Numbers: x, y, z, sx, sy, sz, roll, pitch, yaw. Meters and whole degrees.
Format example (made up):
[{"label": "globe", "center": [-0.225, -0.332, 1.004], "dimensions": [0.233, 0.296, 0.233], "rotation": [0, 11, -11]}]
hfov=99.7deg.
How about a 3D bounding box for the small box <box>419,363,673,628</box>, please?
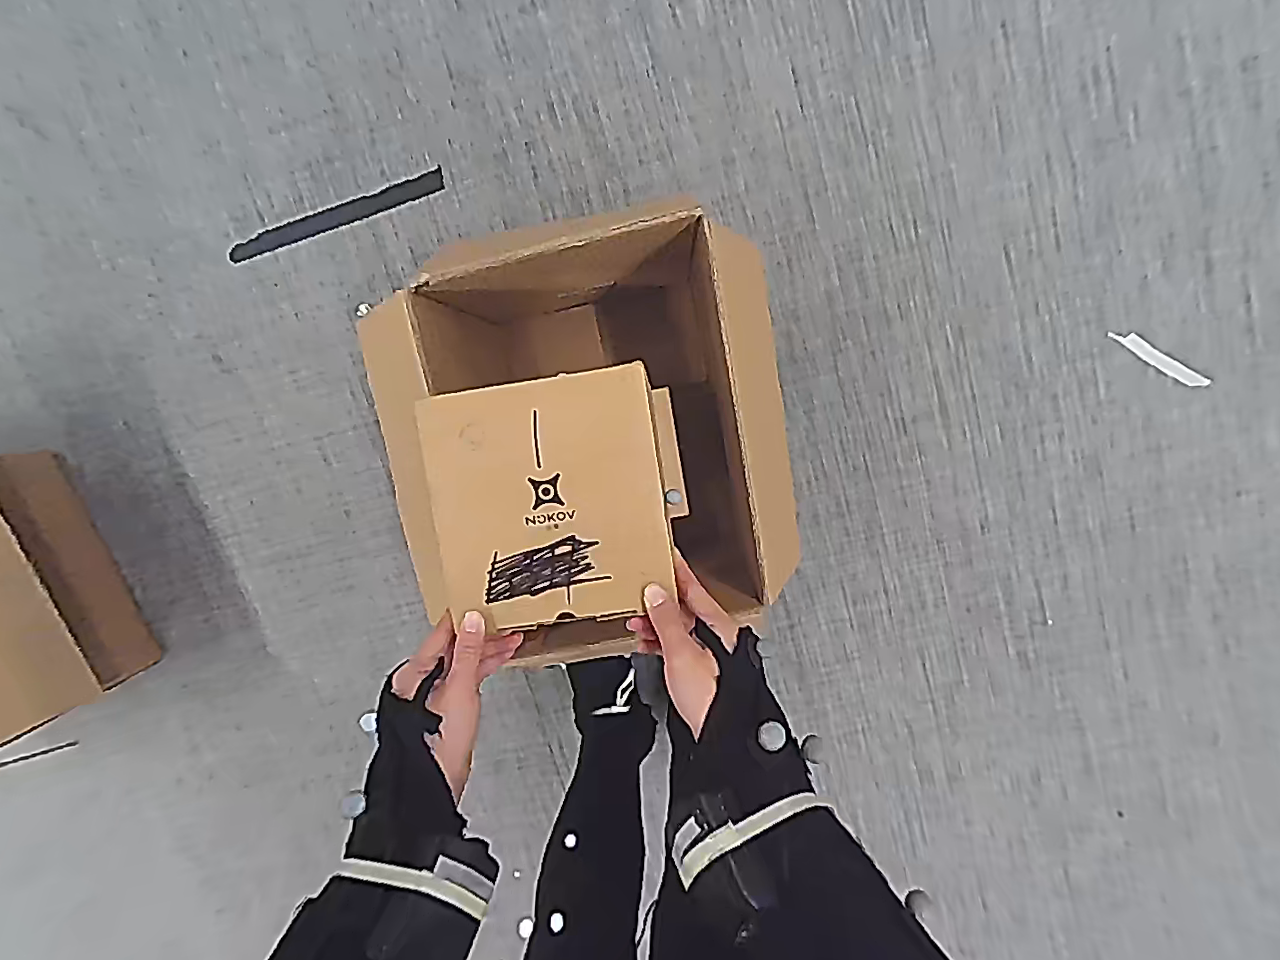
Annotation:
[{"label": "small box", "center": [-0.062, 0.008, 0.466], "dimensions": [0.168, 0.176, 0.179], "rotation": [-8, 93, 3]}]
